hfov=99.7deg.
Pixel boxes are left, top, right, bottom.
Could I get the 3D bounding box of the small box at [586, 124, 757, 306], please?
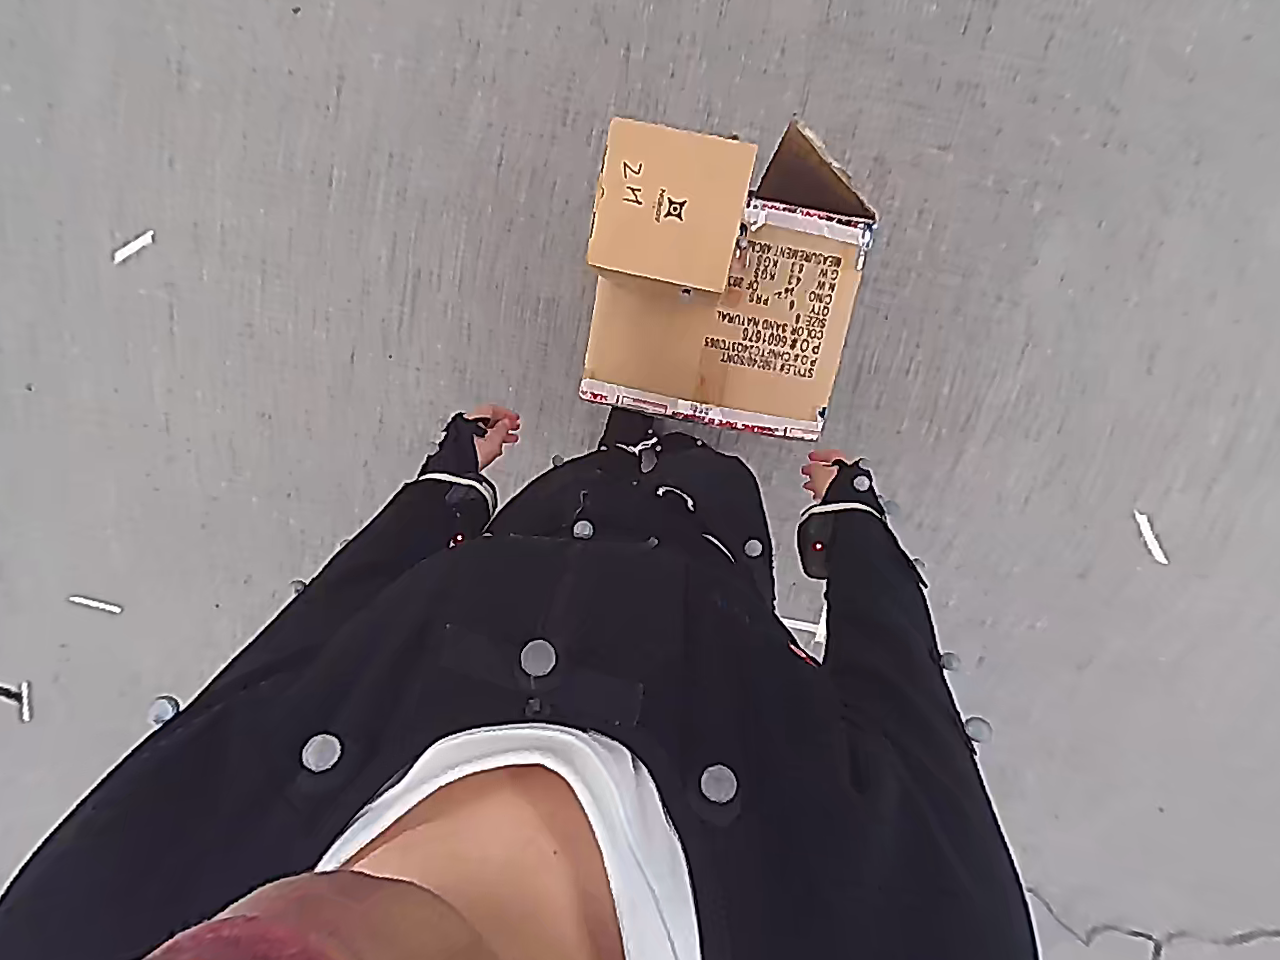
[{"bbox_3d":[0.043,-0.336,0.721,0.179,0.176,0.168,14,103,4],"label":"small box"}]
